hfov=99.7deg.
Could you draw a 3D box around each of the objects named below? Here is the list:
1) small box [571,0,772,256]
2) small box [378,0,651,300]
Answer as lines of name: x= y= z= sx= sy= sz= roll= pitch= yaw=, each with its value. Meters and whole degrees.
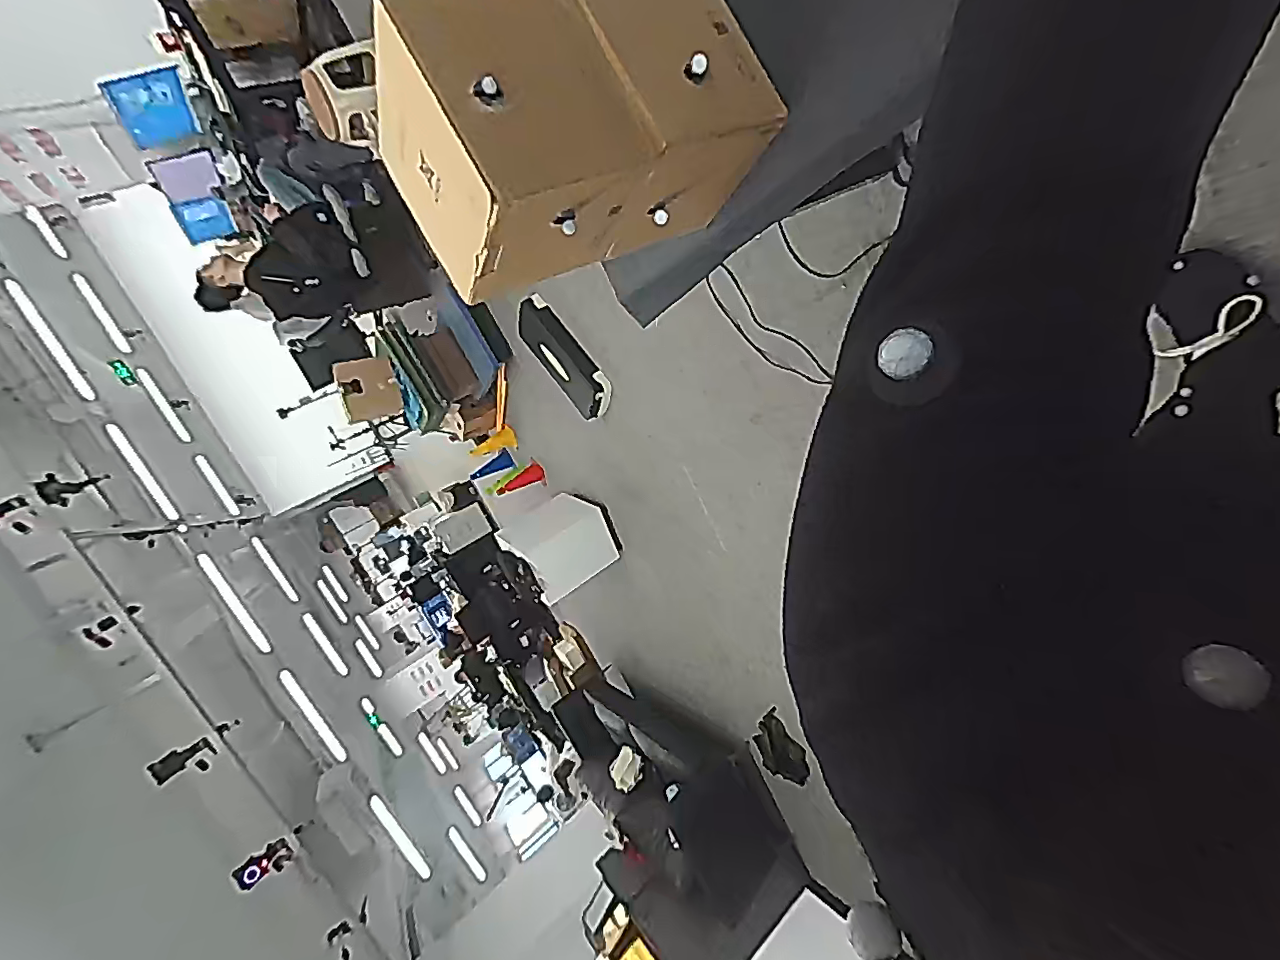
small box: x=0.013 y=-0.377 z=0.569 sx=0.168 sy=0.176 sz=0.179 roll=59 pitch=155 yaw=-1
small box: x=-0.117 y=-0.304 z=0.503 sx=0.179 sy=0.176 sz=0.168 roll=61 pitch=153 yaw=-2
